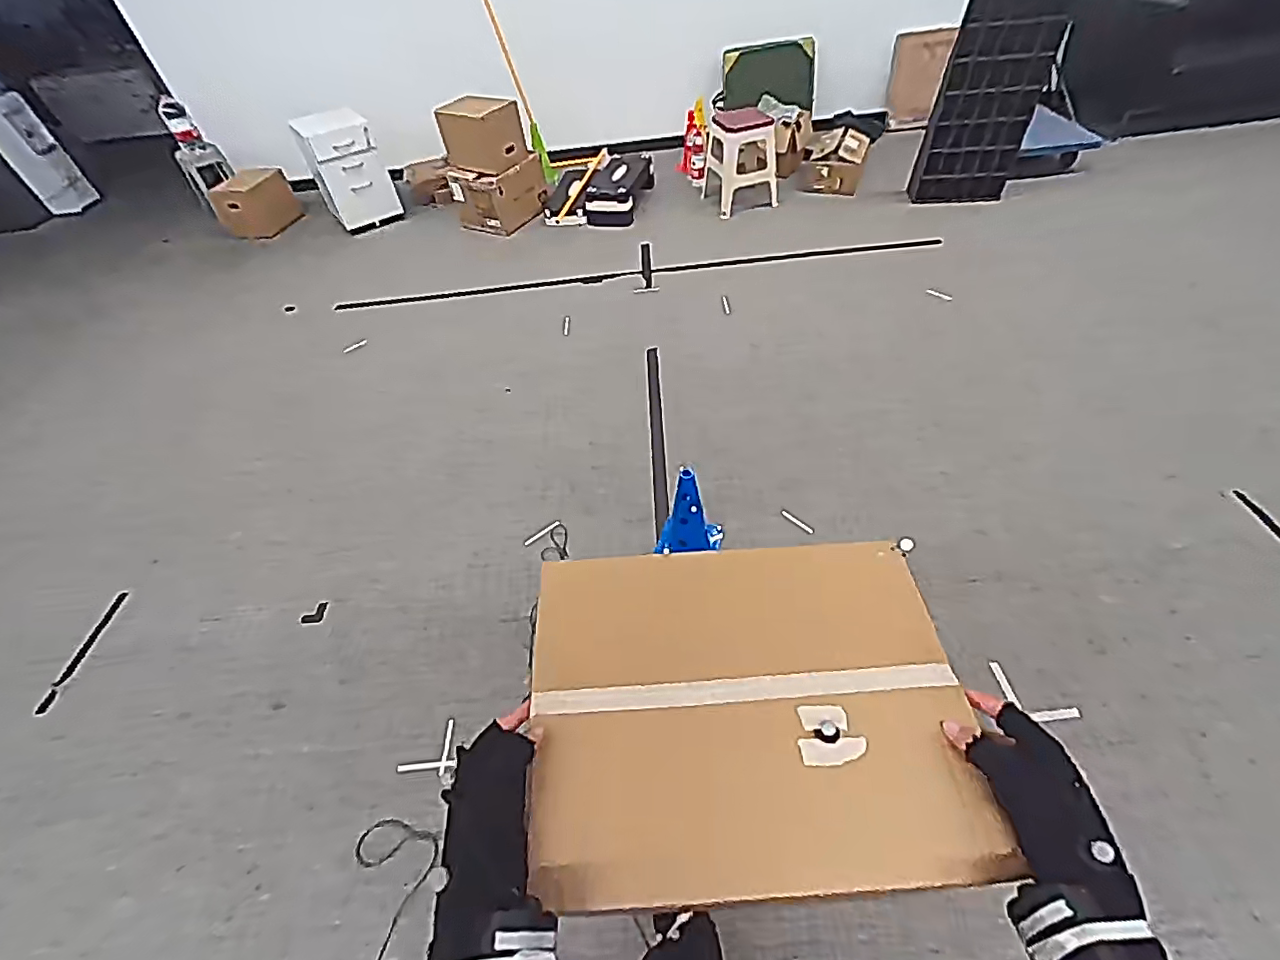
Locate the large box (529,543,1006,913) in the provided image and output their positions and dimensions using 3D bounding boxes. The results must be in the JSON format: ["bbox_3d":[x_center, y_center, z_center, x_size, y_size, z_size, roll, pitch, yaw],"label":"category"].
[{"bbox_3d":[0.099,0.300,0.647,0.408,0.320,0.320,-4,51,-1],"label":"large box"}]

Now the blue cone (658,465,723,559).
[{"bbox_3d":[0.153,0.102,1.664,0.193,0.380,0.192,12,51,17],"label":"blue cone"}]
